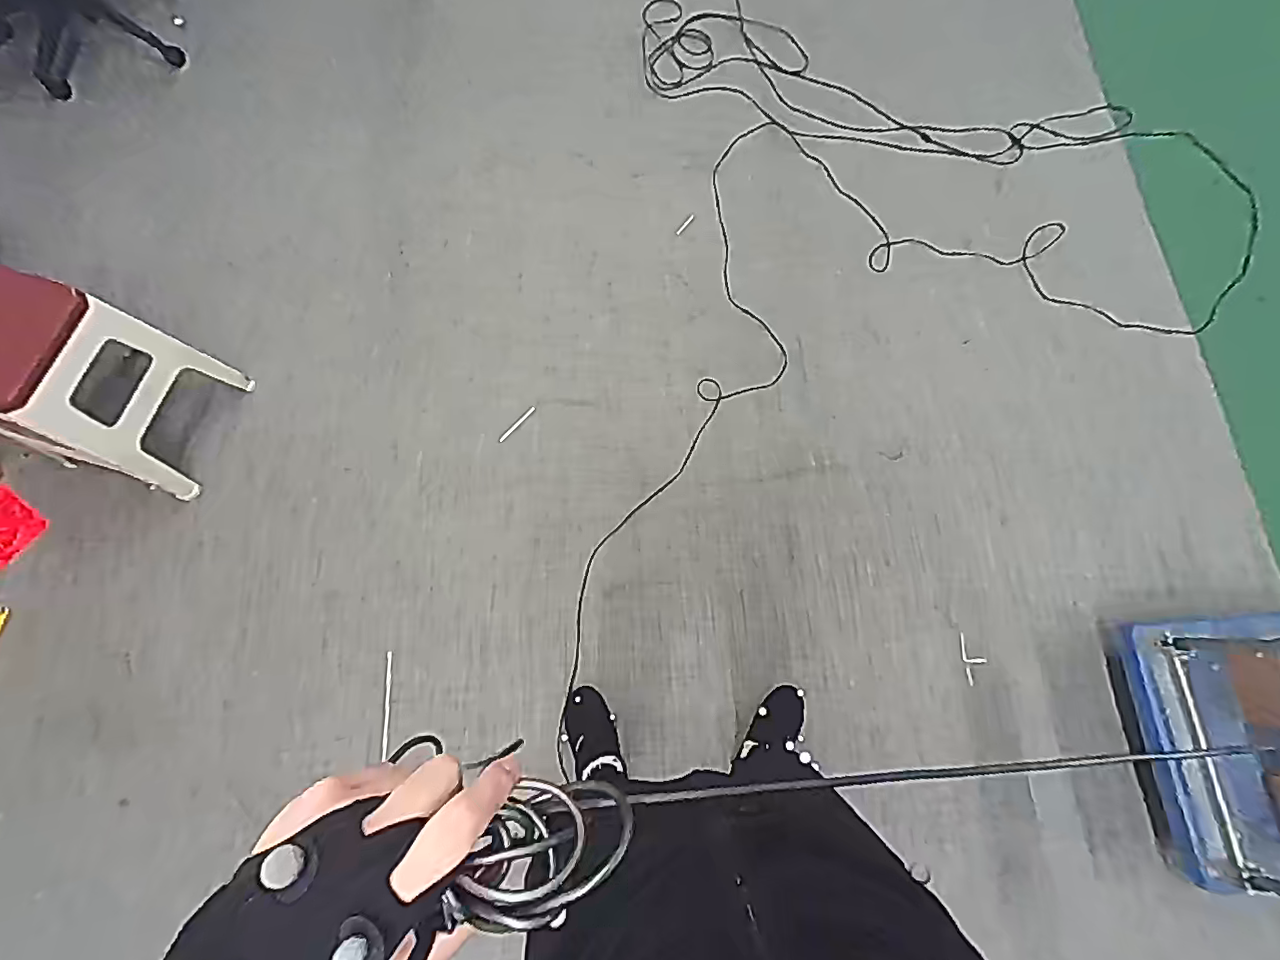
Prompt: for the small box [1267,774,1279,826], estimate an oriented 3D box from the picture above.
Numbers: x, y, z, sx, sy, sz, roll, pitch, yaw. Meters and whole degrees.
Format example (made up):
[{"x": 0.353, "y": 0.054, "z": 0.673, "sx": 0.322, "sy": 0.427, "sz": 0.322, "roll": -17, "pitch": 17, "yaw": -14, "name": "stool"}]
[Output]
[{"x": 1.532, "y": 0.736, "z": 1.152, "sx": 0.179, "sy": 0.176, "sz": 0.168, "roll": -1, "pitch": 74, "yaw": -2, "name": "small box"}]
